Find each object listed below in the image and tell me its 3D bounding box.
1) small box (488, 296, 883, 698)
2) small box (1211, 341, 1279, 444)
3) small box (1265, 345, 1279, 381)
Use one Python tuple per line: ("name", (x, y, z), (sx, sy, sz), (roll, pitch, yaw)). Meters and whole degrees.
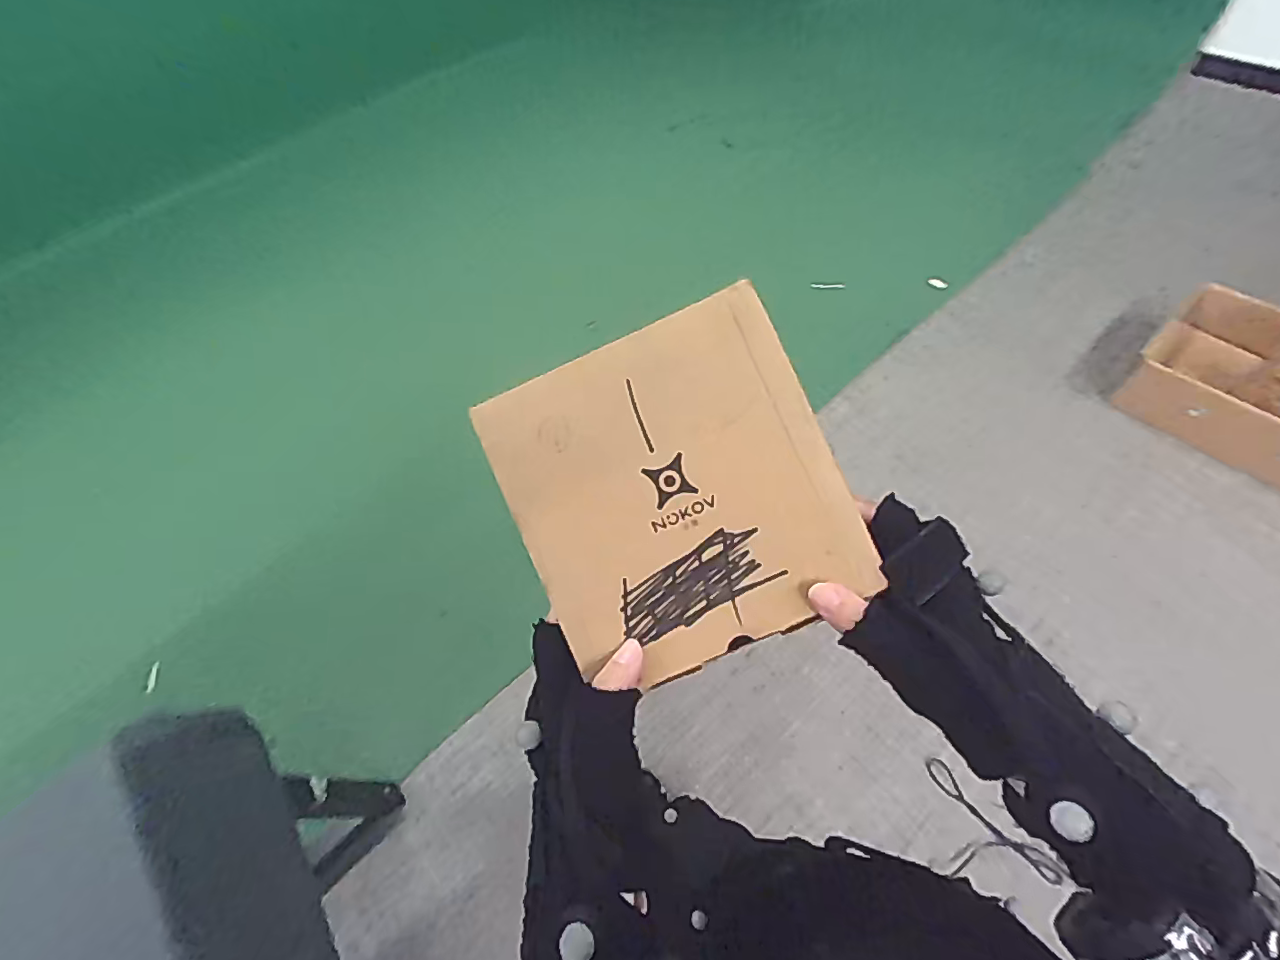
("small box", (0.029, 0.011, 0.370), (0.168, 0.176, 0.179), (-23, 87, 4))
("small box", (1.683, -0.224, 1.421), (0.168, 0.176, 0.179), (-42, 63, -19))
("small box", (1.655, -0.304, 1.260), (0.179, 0.176, 0.168), (37, 69, 25))
